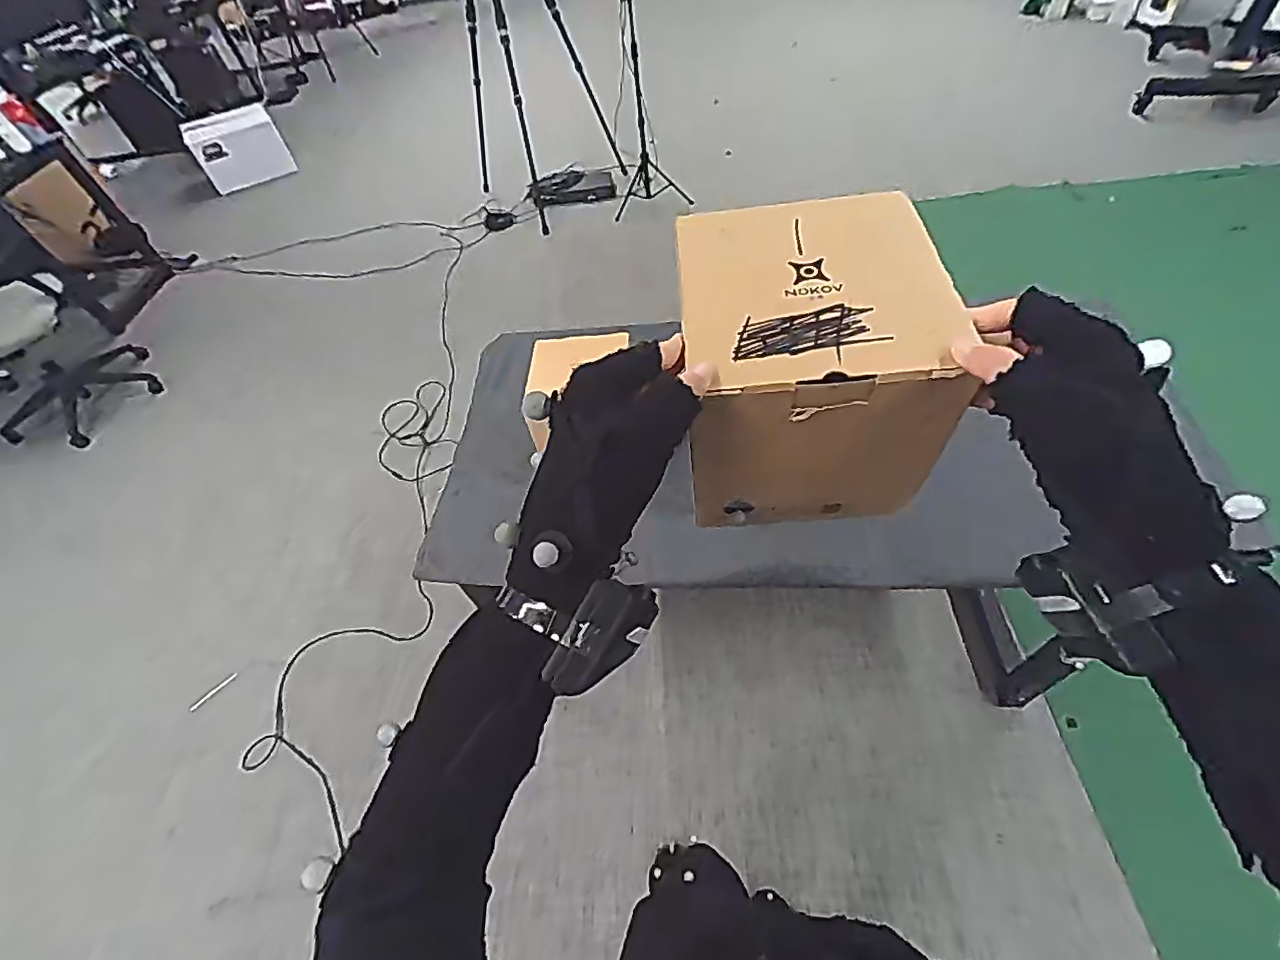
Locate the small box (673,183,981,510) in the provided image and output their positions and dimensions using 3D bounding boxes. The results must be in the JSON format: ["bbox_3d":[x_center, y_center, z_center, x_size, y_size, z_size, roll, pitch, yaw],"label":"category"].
[{"bbox_3d":[0.115,-0.087,0.409,0.168,0.176,0.179,-4,57,6],"label":"small box"}]

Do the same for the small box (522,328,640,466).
[{"bbox_3d":[-0.091,-0.136,0.935,0.168,0.176,0.179,-4,51,5],"label":"small box"}]
